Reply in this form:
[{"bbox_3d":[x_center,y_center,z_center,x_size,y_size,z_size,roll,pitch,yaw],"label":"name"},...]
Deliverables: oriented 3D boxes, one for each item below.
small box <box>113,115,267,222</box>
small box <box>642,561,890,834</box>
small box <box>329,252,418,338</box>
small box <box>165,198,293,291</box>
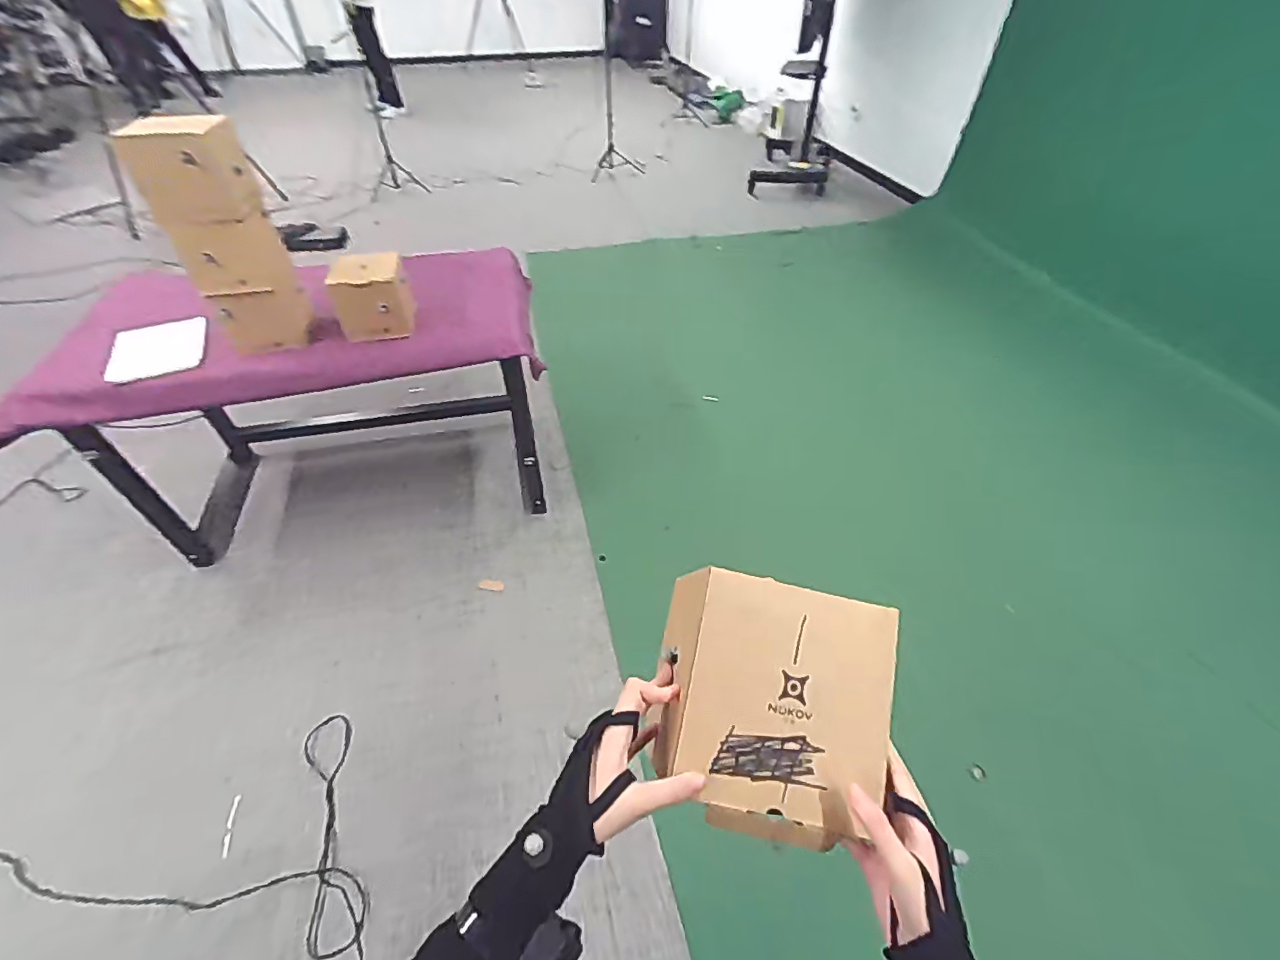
[{"bbox_3d":[-0.964,-0.680,1.182,0.179,0.176,0.168,-7,44,-7],"label":"small box"},{"bbox_3d":[0.103,0.188,0.505,0.168,0.176,0.179,15,74,-3],"label":"small box"},{"bbox_3d":[-0.712,-0.497,1.465,0.168,0.176,0.179,-8,45,-9],"label":"small box"},{"bbox_3d":[-0.973,-0.567,1.302,0.168,0.176,0.179,-9,45,-9],"label":"small box"}]
